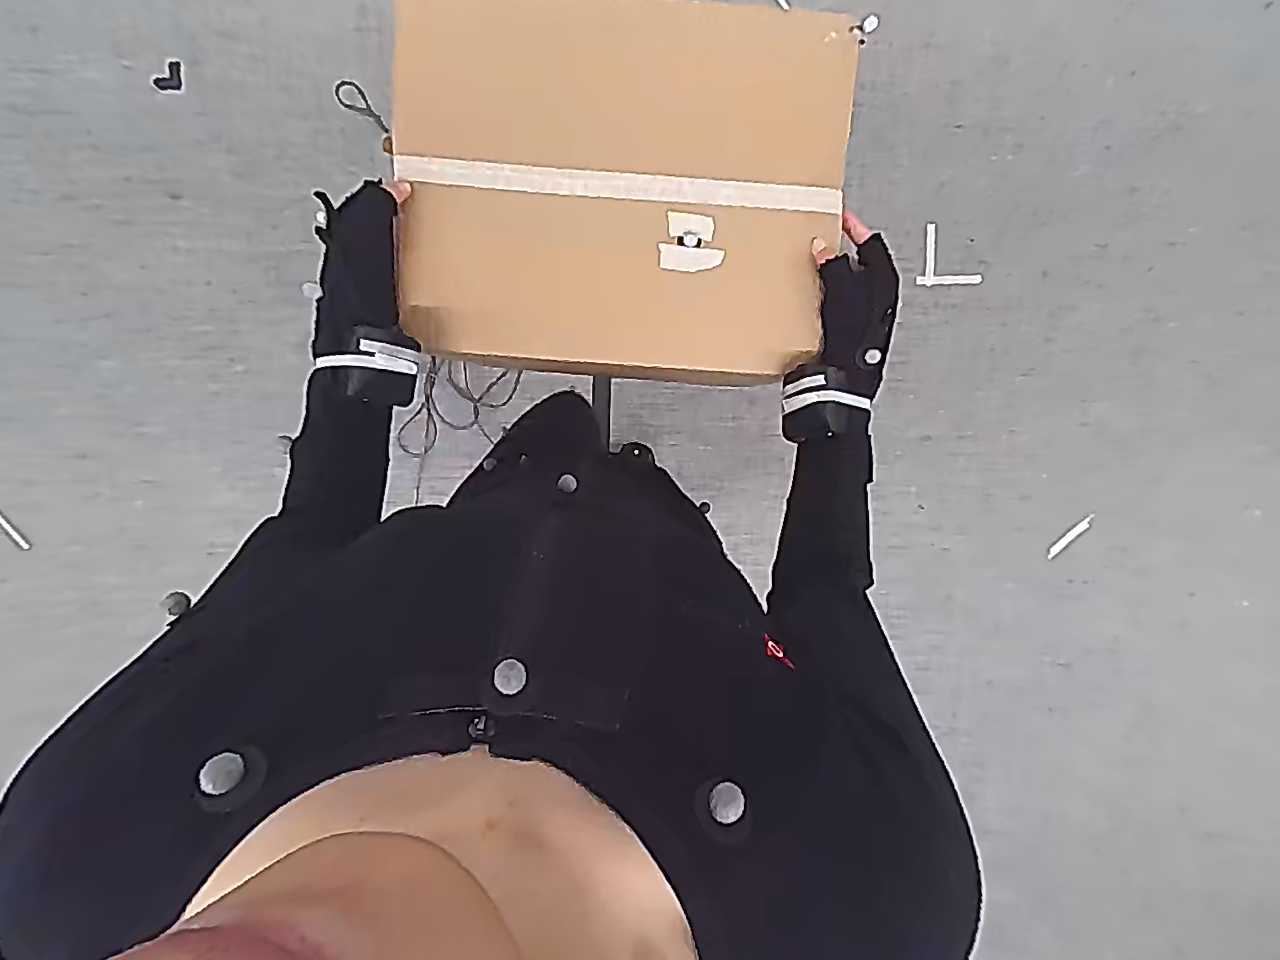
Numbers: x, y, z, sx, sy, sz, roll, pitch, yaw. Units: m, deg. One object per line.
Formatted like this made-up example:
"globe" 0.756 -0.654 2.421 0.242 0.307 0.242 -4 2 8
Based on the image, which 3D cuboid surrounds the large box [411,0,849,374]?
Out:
"large box" -0.019 -0.299 0.654 0.408 0.320 0.320 3 99 -2
